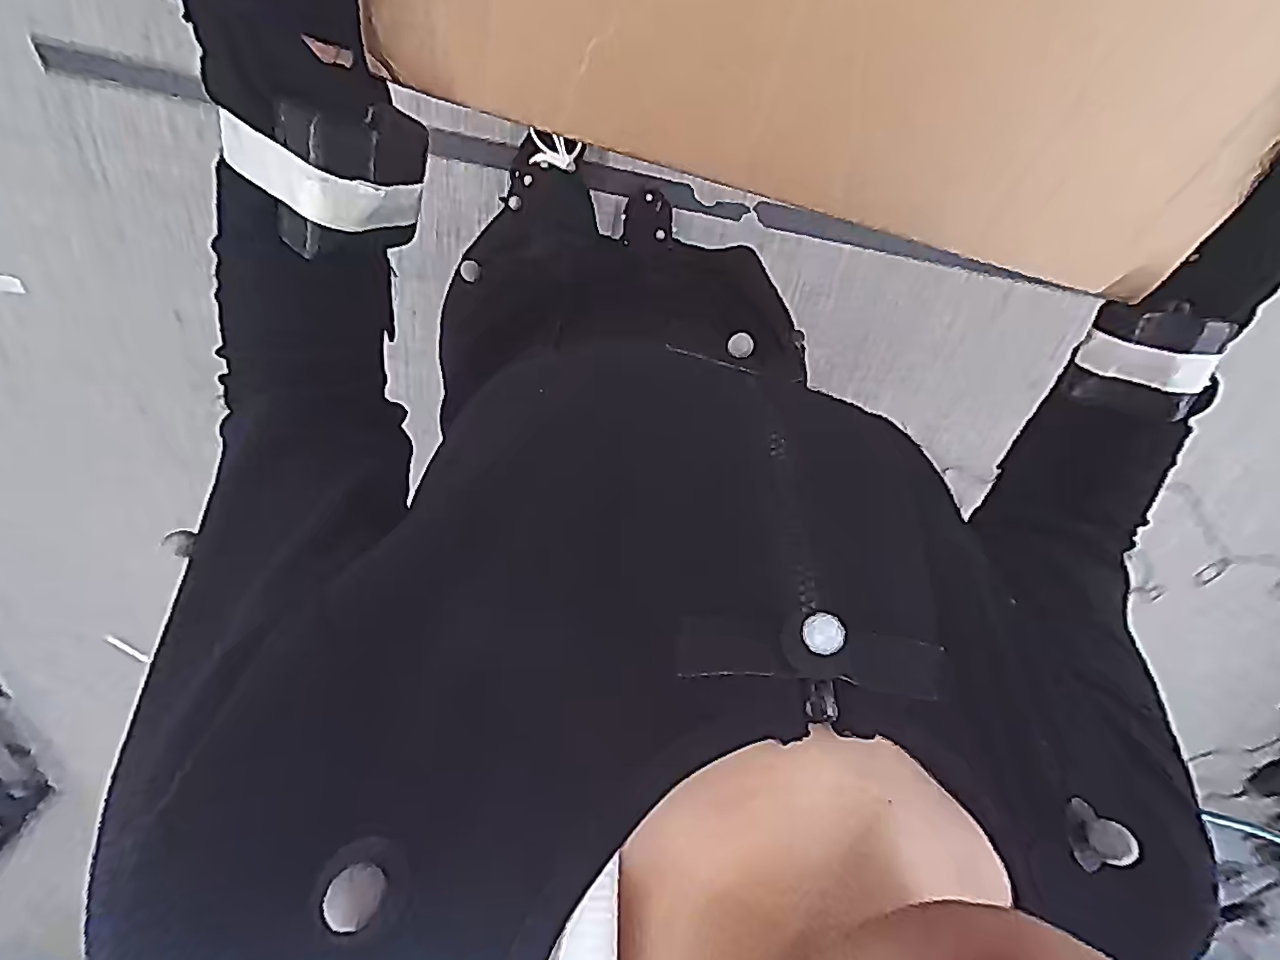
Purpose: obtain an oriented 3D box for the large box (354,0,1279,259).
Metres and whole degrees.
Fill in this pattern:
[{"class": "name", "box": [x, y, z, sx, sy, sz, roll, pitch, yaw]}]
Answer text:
[{"class": "large box", "box": [0.107, -0.359, 0.258, 0.408, 0.320, 0.320, 9, 136, -12]}]
